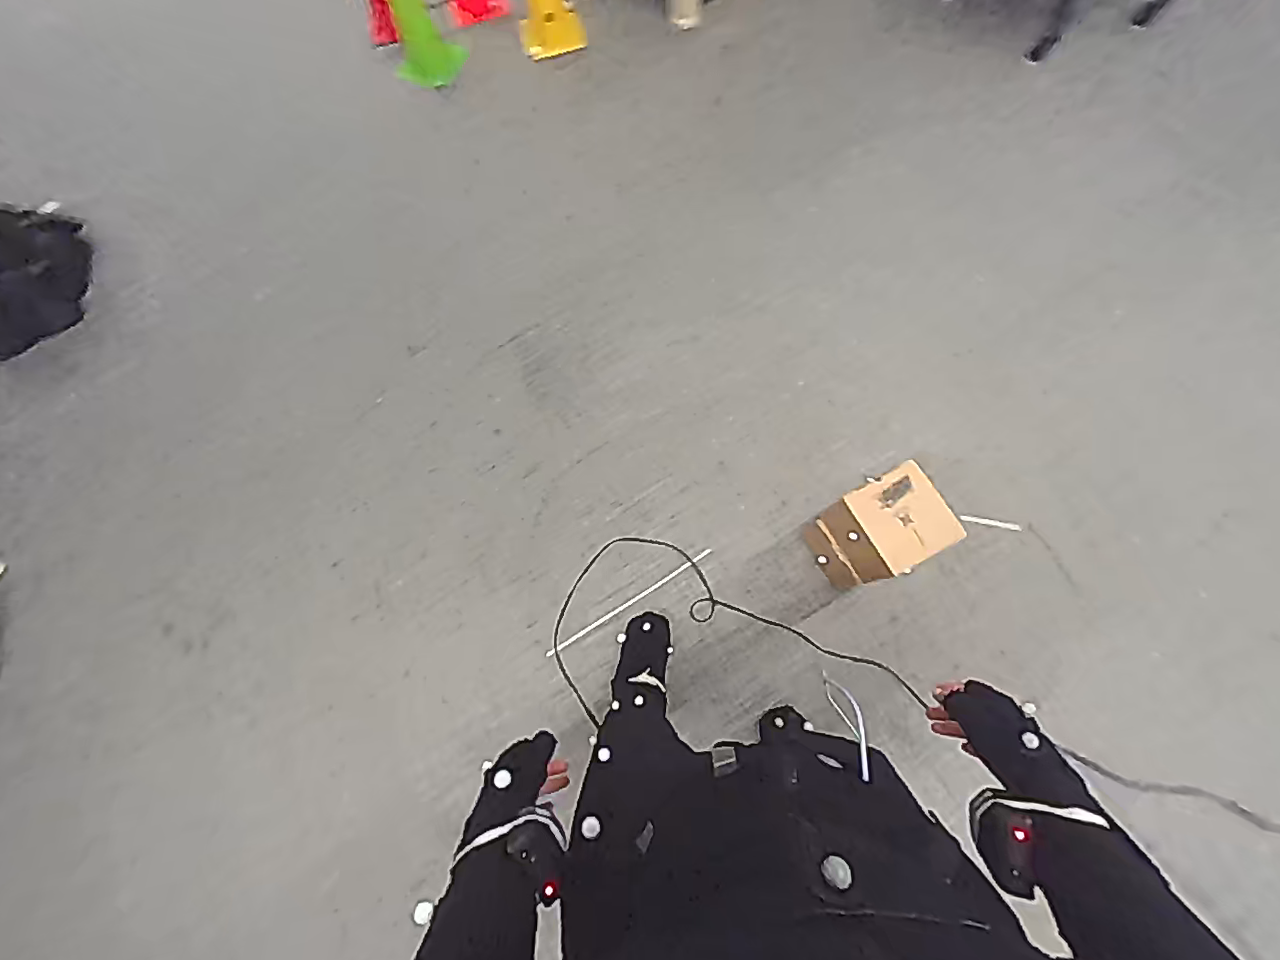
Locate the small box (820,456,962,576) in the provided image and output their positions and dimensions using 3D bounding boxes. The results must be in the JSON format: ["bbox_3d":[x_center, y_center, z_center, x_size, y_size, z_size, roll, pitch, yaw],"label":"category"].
[{"bbox_3d":[0.499,0.082,1.109,0.168,0.176,0.179,-28,76,-5],"label":"small box"}]

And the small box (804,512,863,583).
[{"bbox_3d":[0.504,0.129,1.267,0.179,0.176,0.168,-30,75,-4],"label":"small box"}]
